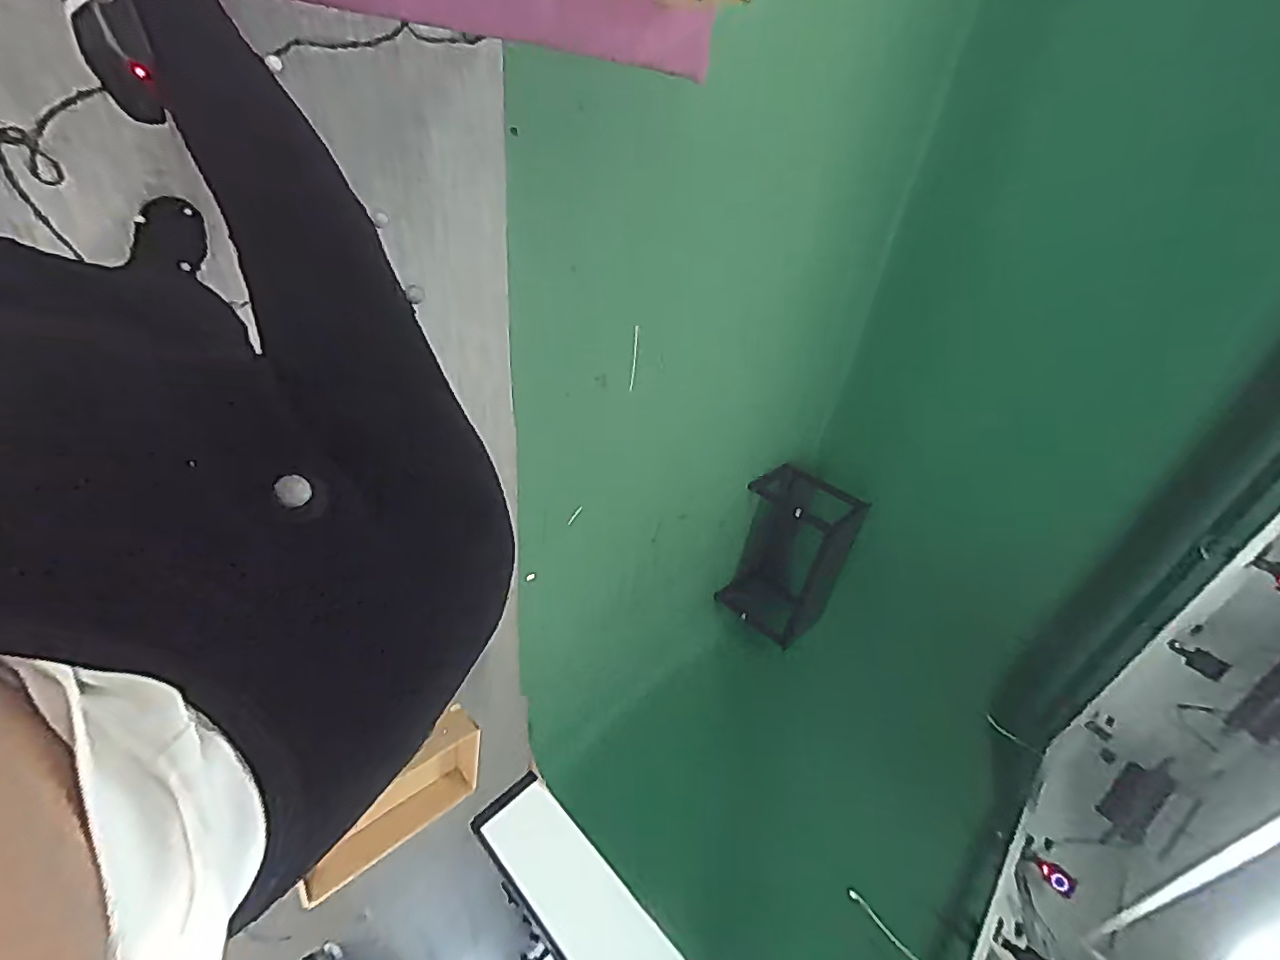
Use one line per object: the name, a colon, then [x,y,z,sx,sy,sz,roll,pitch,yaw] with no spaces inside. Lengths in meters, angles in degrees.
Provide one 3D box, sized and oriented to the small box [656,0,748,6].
small box: [0.074,-0.859,0.823,0.168,0.176,0.179,-23,132,-40]
